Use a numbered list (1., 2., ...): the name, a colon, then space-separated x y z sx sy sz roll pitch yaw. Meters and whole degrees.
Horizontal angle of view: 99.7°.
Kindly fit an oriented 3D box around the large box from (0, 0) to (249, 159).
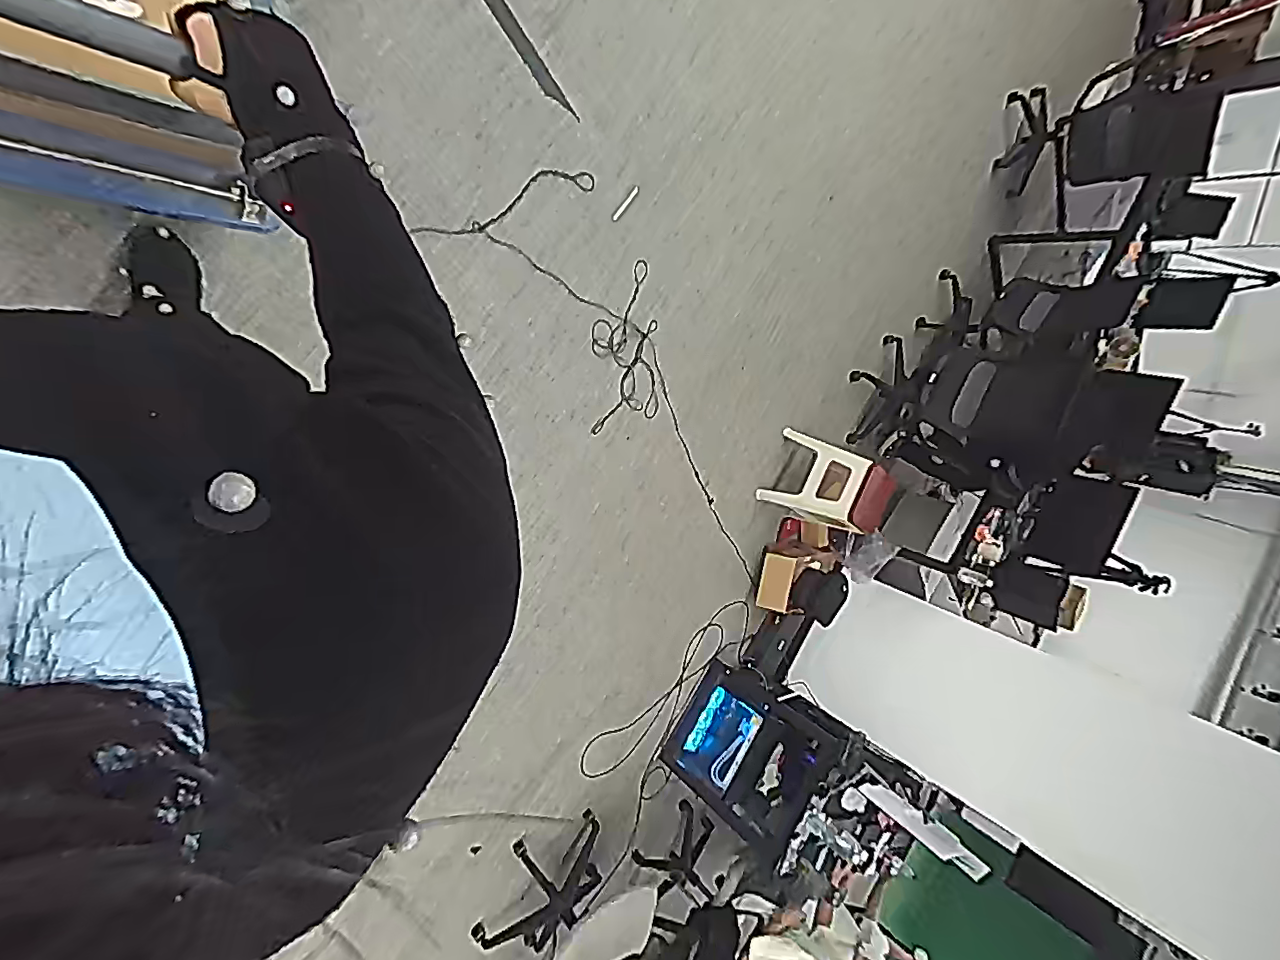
1. large box: -0.775 -0.660 0.688 0.408 0.320 0.320 -5 109 -44
